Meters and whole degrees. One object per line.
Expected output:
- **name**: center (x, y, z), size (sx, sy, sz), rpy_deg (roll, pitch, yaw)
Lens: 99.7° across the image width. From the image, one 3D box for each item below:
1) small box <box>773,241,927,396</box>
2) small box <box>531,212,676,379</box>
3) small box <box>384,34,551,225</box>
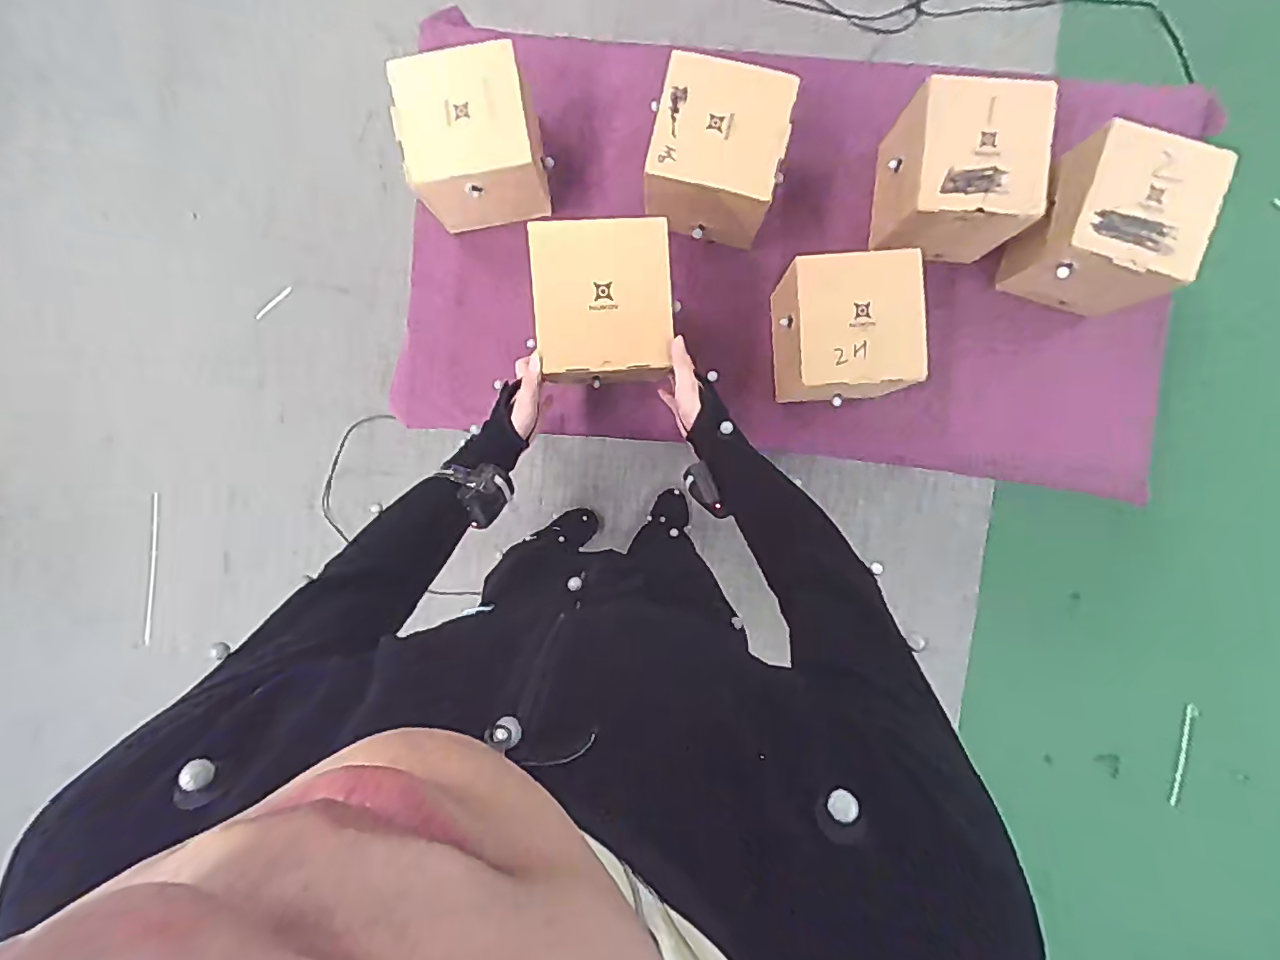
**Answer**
- **small box**: center (0.294, -0.225, 0.792), size (0.168, 0.176, 0.179), rpy_deg (-3, 91, 3)
- **small box**: center (-0.049, -0.231, 0.713), size (0.168, 0.176, 0.179), rpy_deg (-4, 97, -5)
- **small box**: center (-0.242, -0.499, 0.798), size (0.179, 0.176, 0.168), rpy_deg (-9, 94, 2)
